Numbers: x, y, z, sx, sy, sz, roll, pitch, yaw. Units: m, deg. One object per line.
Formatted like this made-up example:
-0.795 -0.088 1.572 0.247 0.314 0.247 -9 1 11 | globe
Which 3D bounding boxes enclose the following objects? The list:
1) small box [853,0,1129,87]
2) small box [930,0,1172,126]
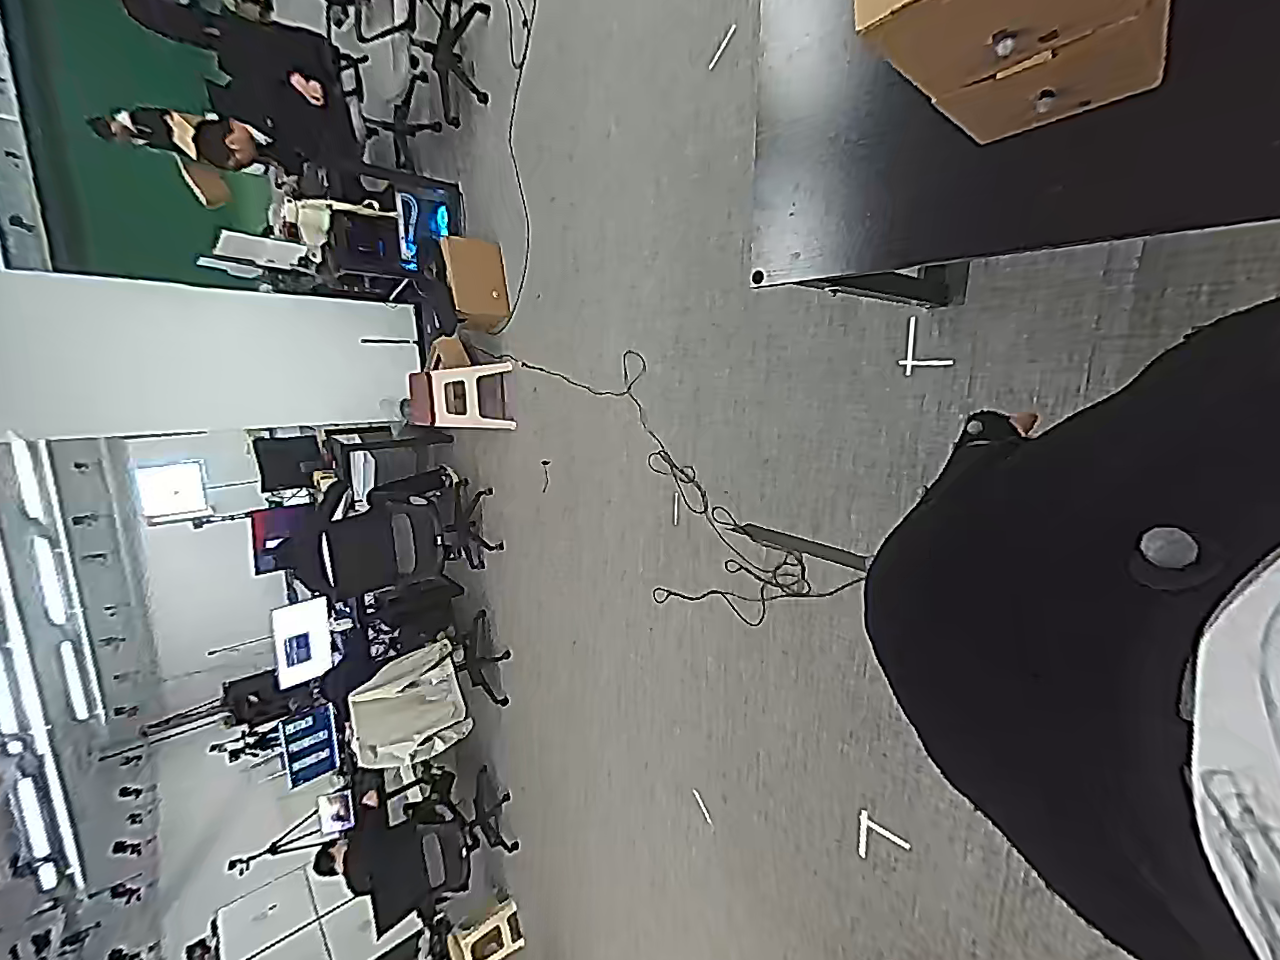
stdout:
0.292 -0.473 0.439 0.168 0.176 0.179 5 101 50 | small box
0.417 -0.490 0.547 0.168 0.176 0.179 8 104 49 | small box
